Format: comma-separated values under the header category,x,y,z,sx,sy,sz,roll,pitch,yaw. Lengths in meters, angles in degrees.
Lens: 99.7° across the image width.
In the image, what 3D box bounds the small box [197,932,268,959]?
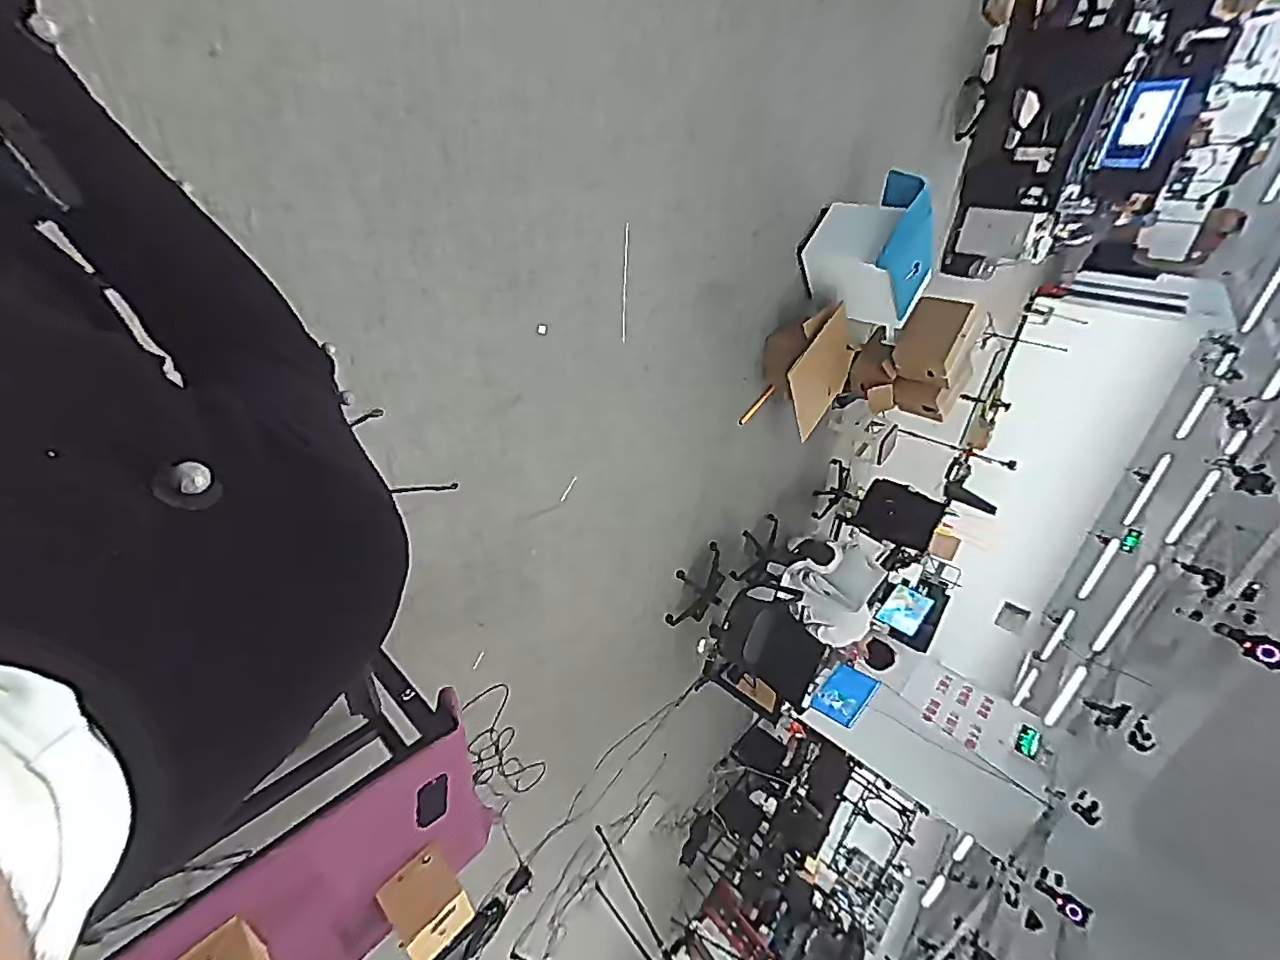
category,x,y,z,sx,sy,sz,roll,pitch,yaw
small box,-0.807,1.033,1.040,0.168,0.176,0.179,-29,133,-39

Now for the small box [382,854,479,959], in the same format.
category,x,y,z,sx,sy,sz,roll,pitch,yaw
small box,-0.557,1.147,1.436,0.168,0.176,0.179,-31,135,-37
